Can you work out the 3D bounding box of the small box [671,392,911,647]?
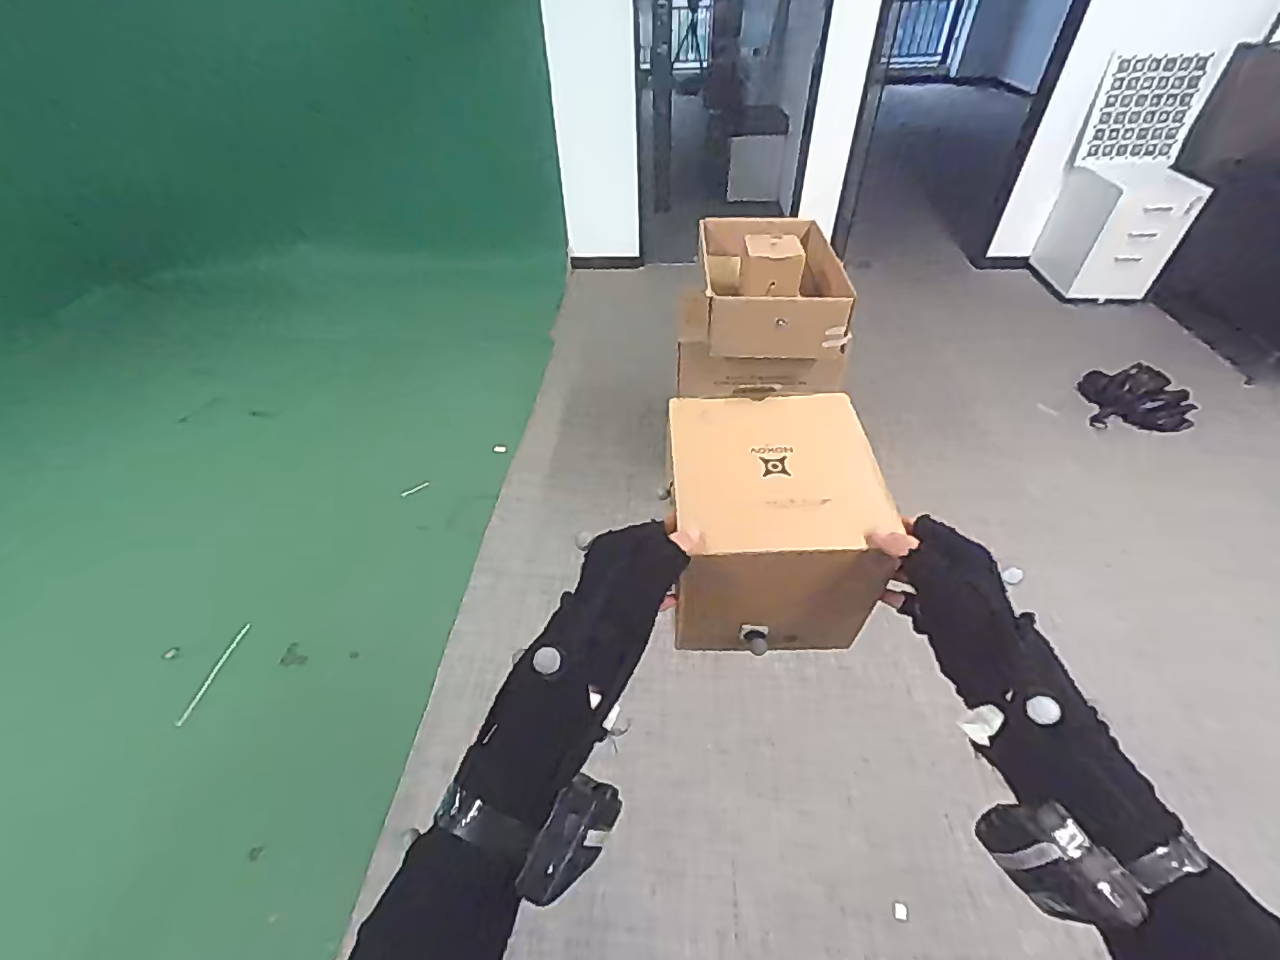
[{"bbox_3d":[0.115,0.037,0.504,0.168,0.176,0.179,-1,48,1],"label":"small box"}]
